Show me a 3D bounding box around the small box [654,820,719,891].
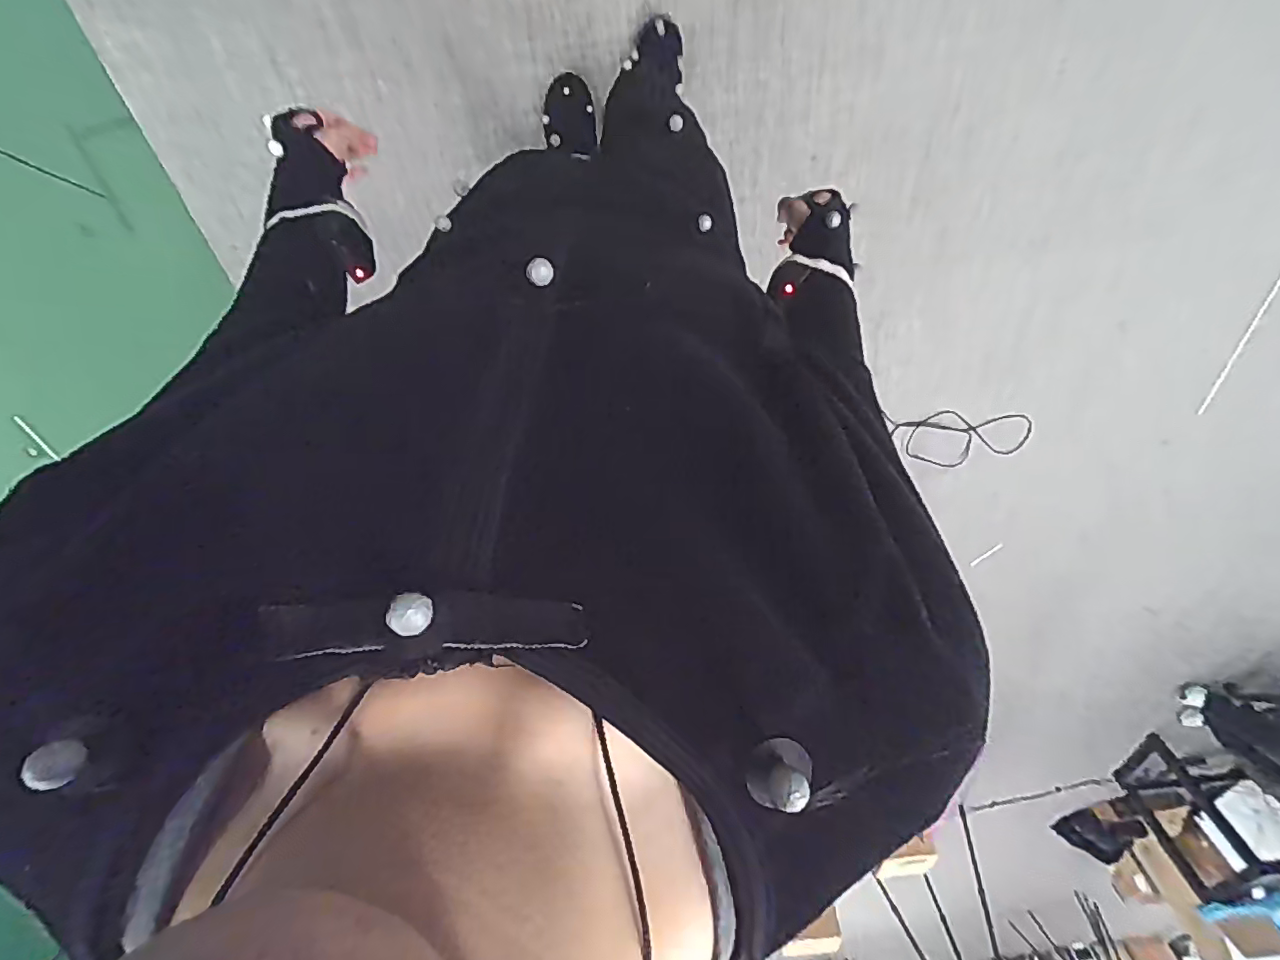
[{"bbox_3d":[0.148,1.219,1.740,0.179,0.176,0.168,-10,129,2],"label":"small box"}]

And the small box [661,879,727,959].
[{"bbox_3d":[0.158,1.320,1.610,0.179,0.176,0.168,-9,129,2],"label":"small box"}]

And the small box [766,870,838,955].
[{"bbox_3d":[0.475,1.285,1.614,0.168,0.176,0.179,-7,130,3],"label":"small box"}]
